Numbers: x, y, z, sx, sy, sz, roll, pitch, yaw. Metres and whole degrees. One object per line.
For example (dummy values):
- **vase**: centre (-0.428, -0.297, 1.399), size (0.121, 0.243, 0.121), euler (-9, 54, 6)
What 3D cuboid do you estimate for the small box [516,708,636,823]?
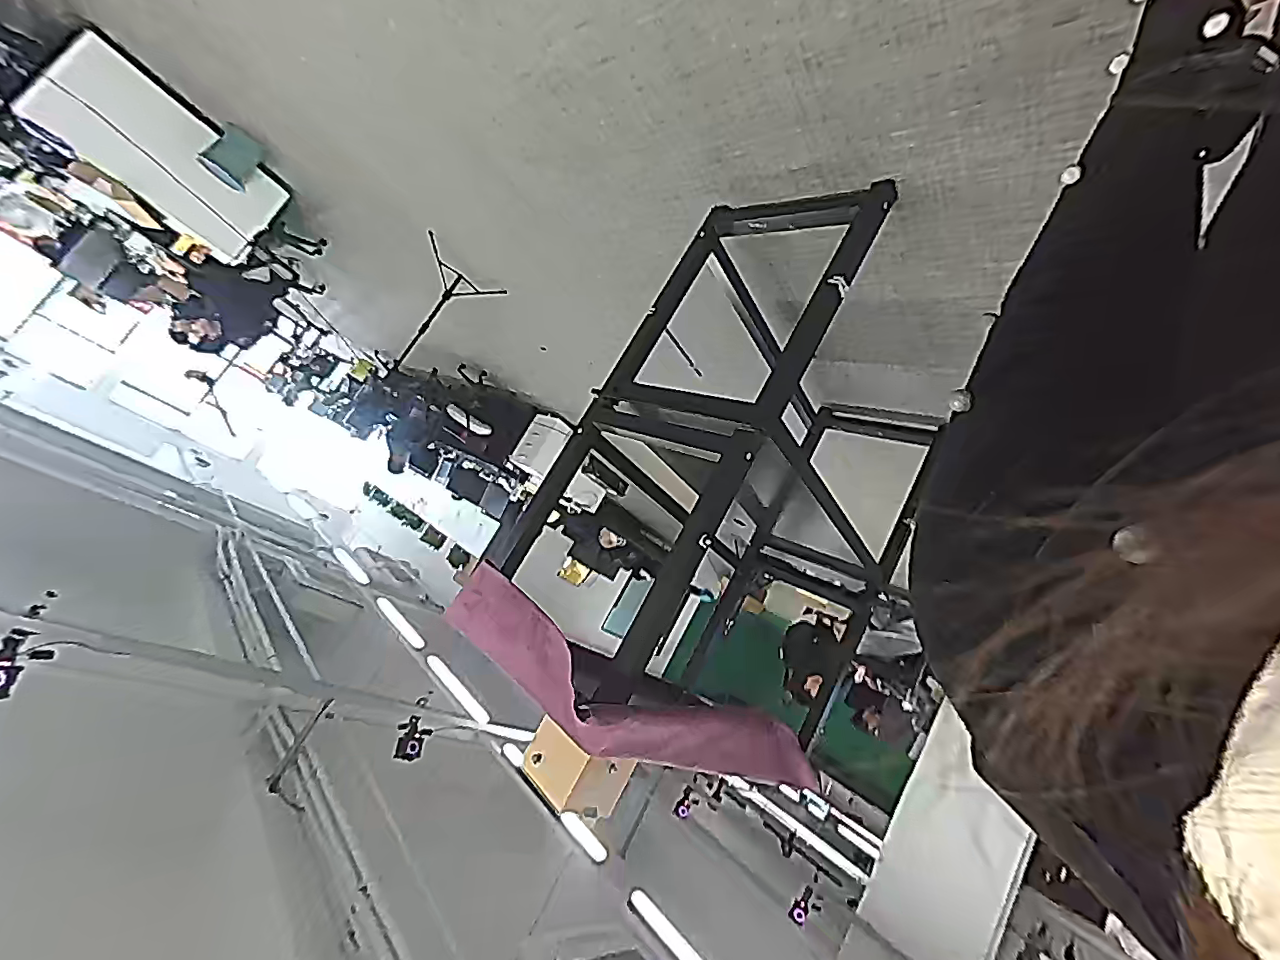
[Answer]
- **small box**: centre (-0.141, 0.635, 1.221), size (0.179, 0.176, 0.168), euler (18, 165, 46)
